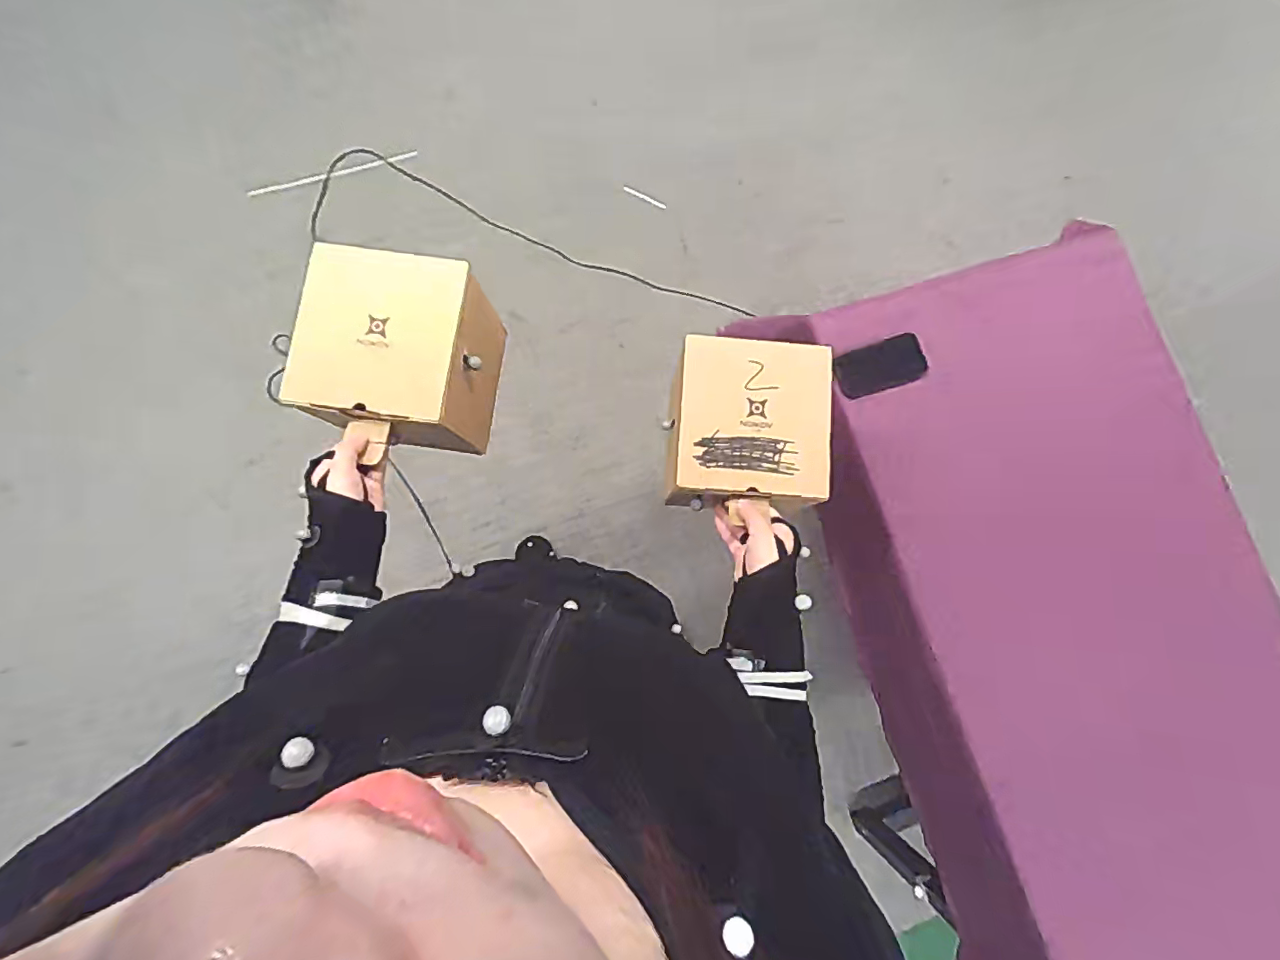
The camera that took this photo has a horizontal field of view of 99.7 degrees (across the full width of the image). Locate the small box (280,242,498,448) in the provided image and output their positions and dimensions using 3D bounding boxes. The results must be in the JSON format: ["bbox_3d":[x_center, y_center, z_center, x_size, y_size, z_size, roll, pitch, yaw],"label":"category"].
[{"bbox_3d":[-0.275,-0.146,0.638,0.168,0.176,0.179,8,83,0],"label":"small box"}]
